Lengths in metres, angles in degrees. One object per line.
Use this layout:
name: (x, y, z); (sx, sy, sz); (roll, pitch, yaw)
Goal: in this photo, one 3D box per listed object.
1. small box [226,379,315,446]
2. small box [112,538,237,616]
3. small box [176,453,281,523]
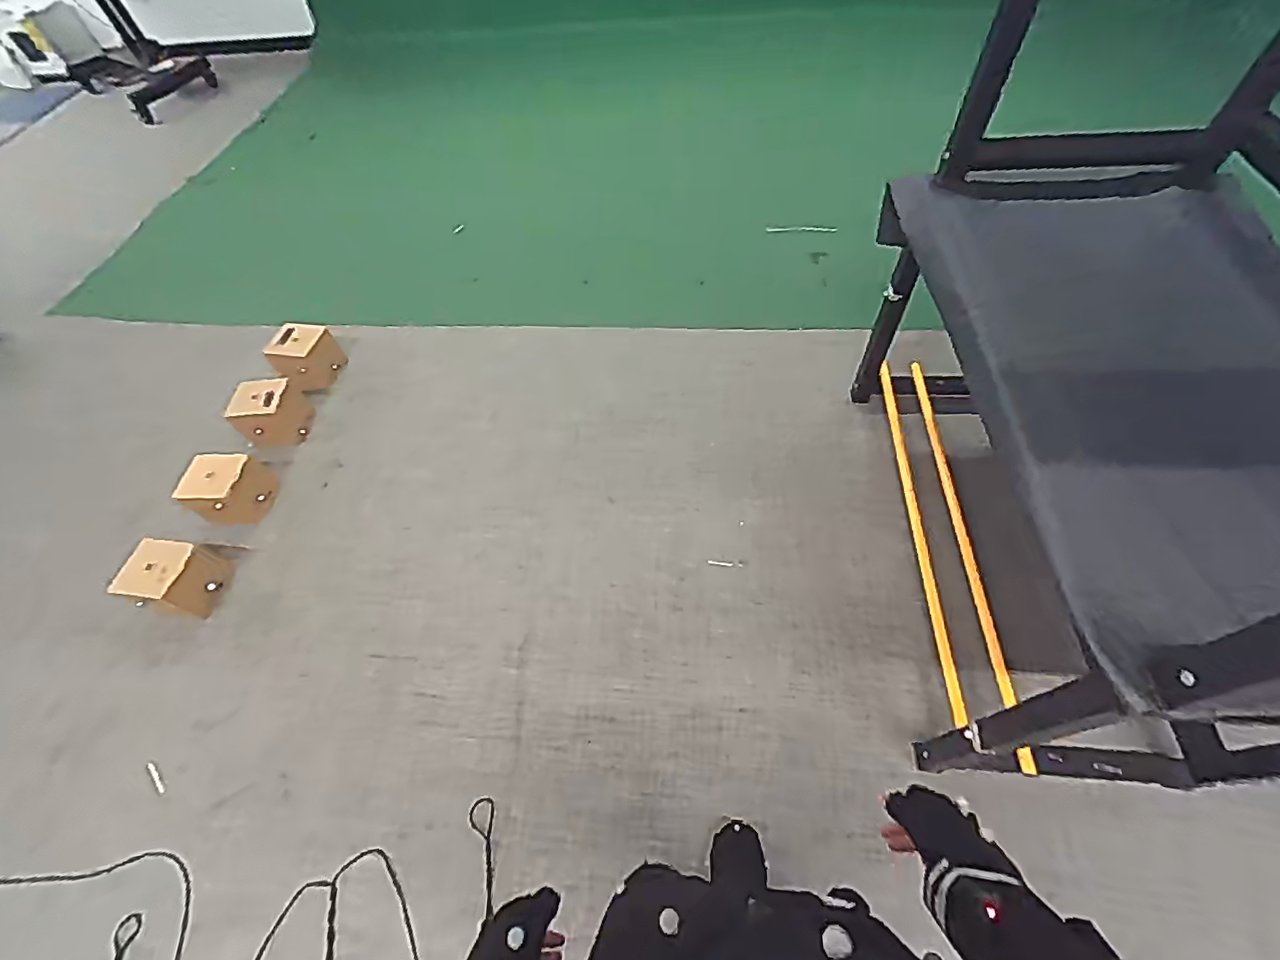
small box: (-1.293, -0.235, 1.907); (0.179, 0.176, 0.168); (-5, 56, 2)
small box: (-1.334, 0.284, 1.565); (0.179, 0.176, 0.168); (5, 58, 8)
small box: (-1.308, 0.030, 1.732); (0.179, 0.176, 0.168); (-1, 57, 3)
